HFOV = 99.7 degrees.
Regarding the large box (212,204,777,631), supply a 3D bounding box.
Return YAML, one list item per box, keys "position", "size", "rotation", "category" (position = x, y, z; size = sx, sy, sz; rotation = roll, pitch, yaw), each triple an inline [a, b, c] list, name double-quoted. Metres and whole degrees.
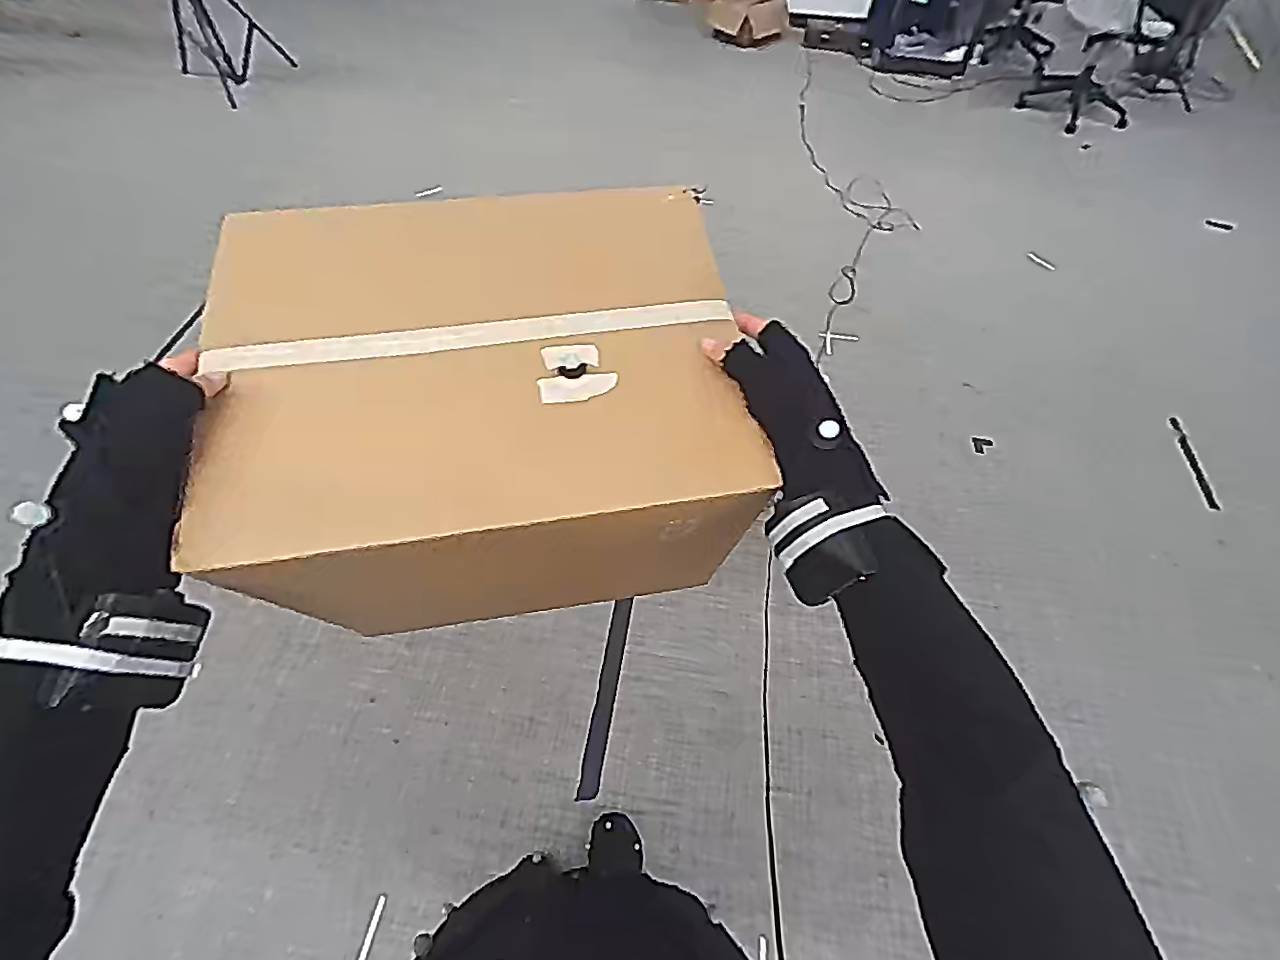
- position: [-0.125, -0.046, 0.575]
  size: [0.408, 0.320, 0.320]
  rotation: [-7, 67, -7]
  category: "large box"
